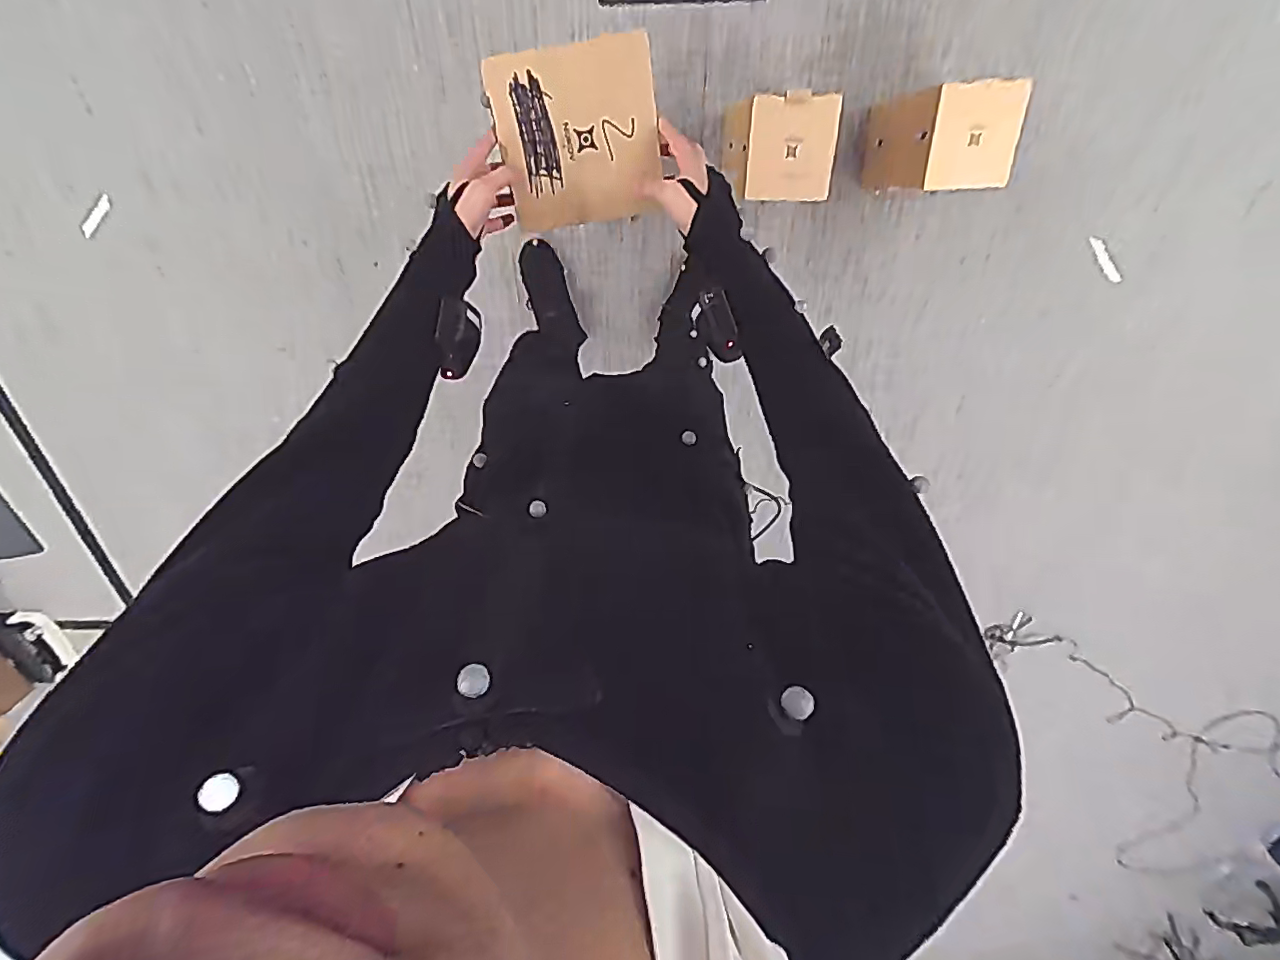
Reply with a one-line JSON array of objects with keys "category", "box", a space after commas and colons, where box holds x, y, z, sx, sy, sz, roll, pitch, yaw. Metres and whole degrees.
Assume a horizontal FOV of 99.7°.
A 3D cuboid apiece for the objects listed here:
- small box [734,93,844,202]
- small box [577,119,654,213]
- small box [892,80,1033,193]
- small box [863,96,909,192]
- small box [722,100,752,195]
[{"category": "small box", "box": [0.287, -0.658, 1.085, 0.168, 0.176, 0.179, 0, 119, 0]}, {"category": "small box", "box": [-0.053, -0.713, 1.240, 0.168, 0.176, 0.179, -1, 119, 0]}, {"category": "small box", "box": [0.629, -0.679, 1.082, 0.168, 0.176, 0.179, -3, 118, 0]}, {"category": "small box", "box": [0.623, -0.758, 1.224, 0.168, 0.176, 0.179, -3, 119, 1]}, {"category": "small box", "box": [0.283, -0.744, 1.225, 0.168, 0.176, 0.179, 0, 120, -1]}]
